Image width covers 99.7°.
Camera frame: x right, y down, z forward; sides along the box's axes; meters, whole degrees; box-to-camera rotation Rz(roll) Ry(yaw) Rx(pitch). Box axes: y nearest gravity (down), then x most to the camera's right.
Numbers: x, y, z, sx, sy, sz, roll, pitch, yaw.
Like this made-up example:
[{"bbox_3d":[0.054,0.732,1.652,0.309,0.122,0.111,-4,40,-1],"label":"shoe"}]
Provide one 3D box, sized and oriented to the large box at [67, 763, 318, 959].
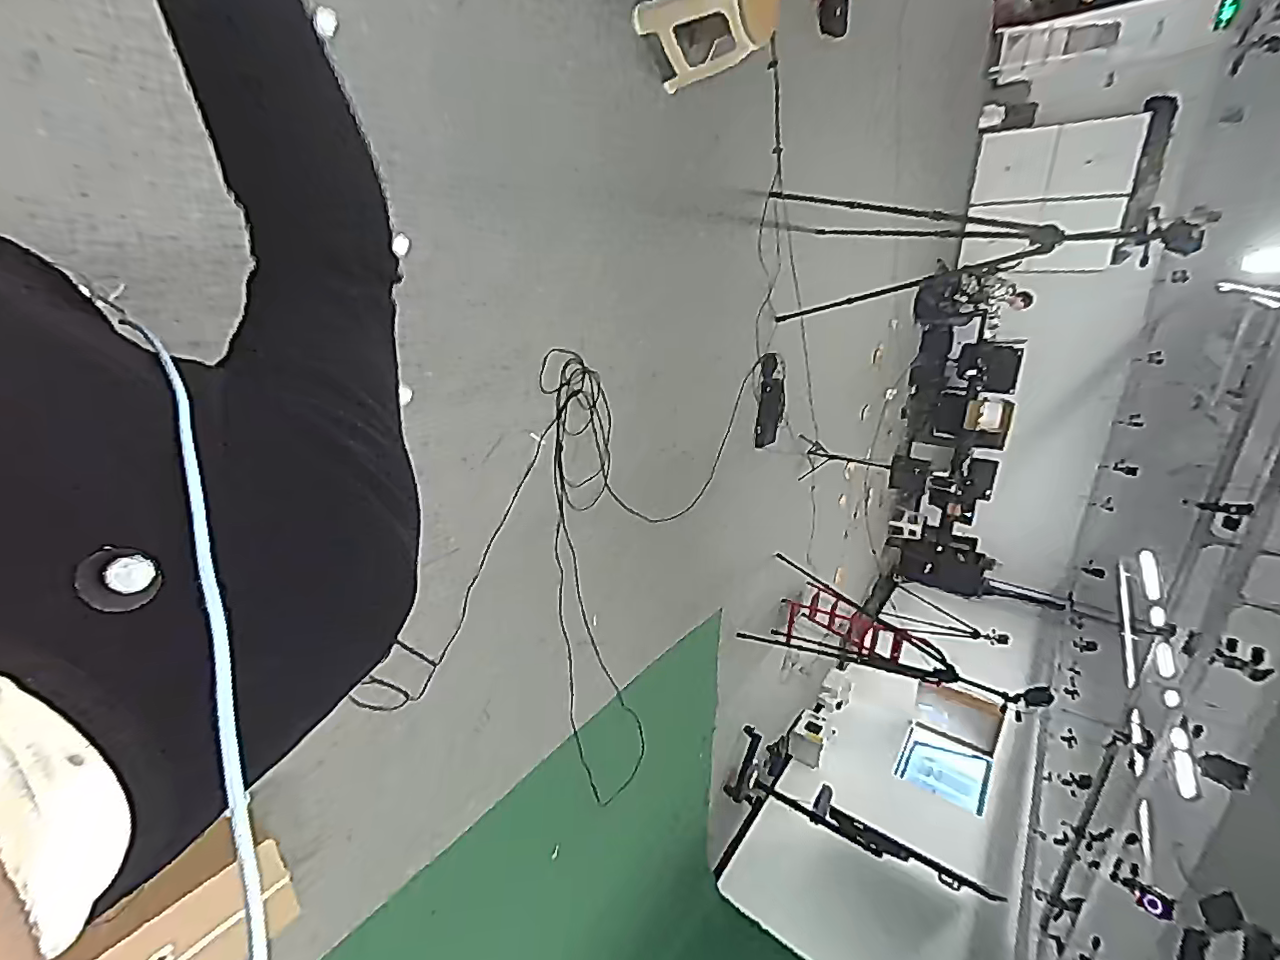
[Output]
[{"bbox_3d":[-1.160,1.062,1.430,0.408,0.320,0.320,-26,122,-45],"label":"large box"}]
